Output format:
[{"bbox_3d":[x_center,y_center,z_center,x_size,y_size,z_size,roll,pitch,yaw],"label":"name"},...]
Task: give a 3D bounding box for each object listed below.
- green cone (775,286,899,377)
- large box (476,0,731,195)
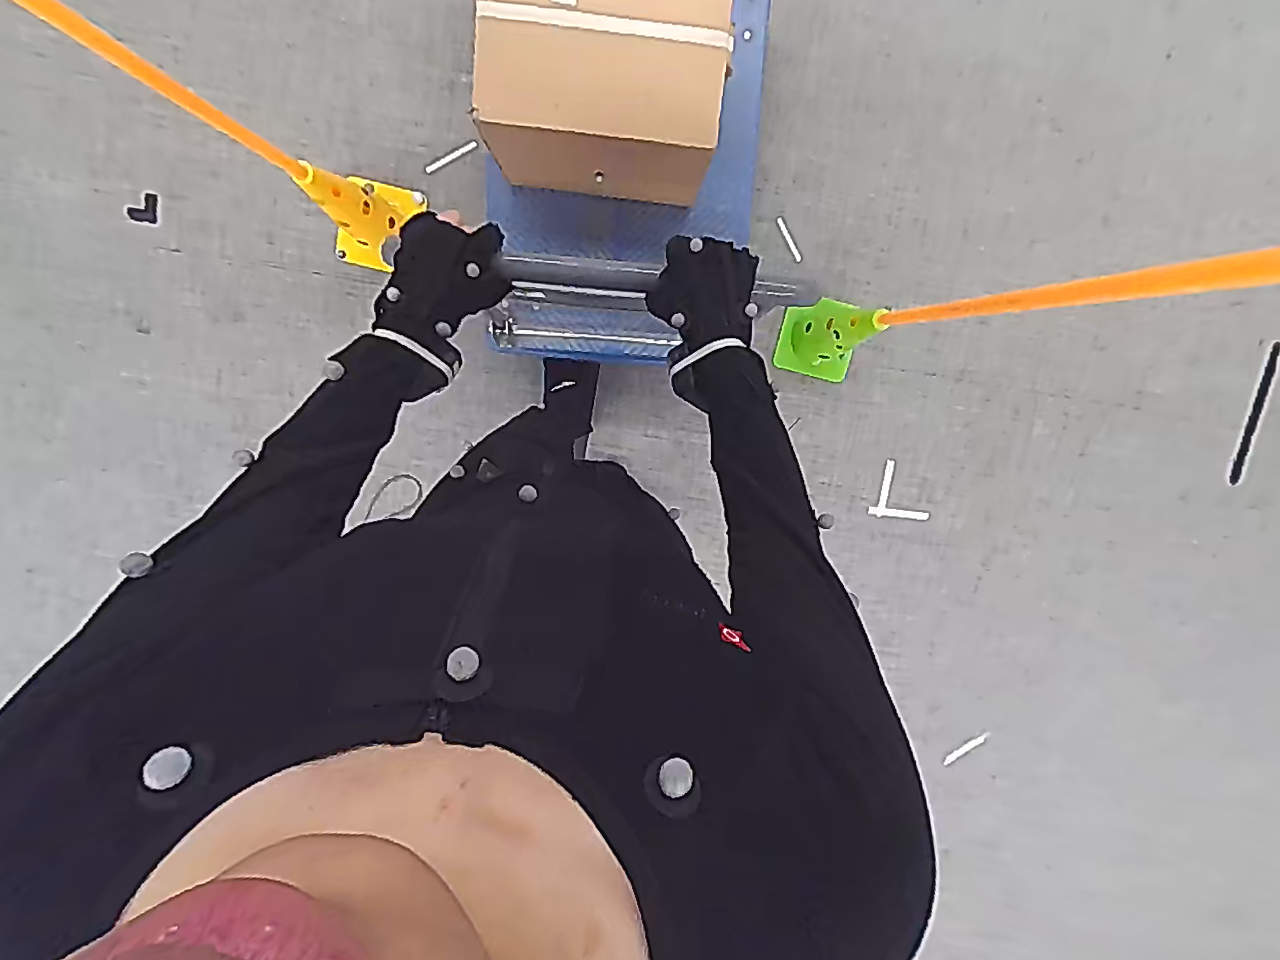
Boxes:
[{"bbox_3d":[0.477,-0.355,1.243,0.202,0.368,0.200,13,99,-6],"label":"green cone"},{"bbox_3d":[-0.059,-0.755,1.004,0.408,0.320,0.320,5,101,-2],"label":"large box"}]
